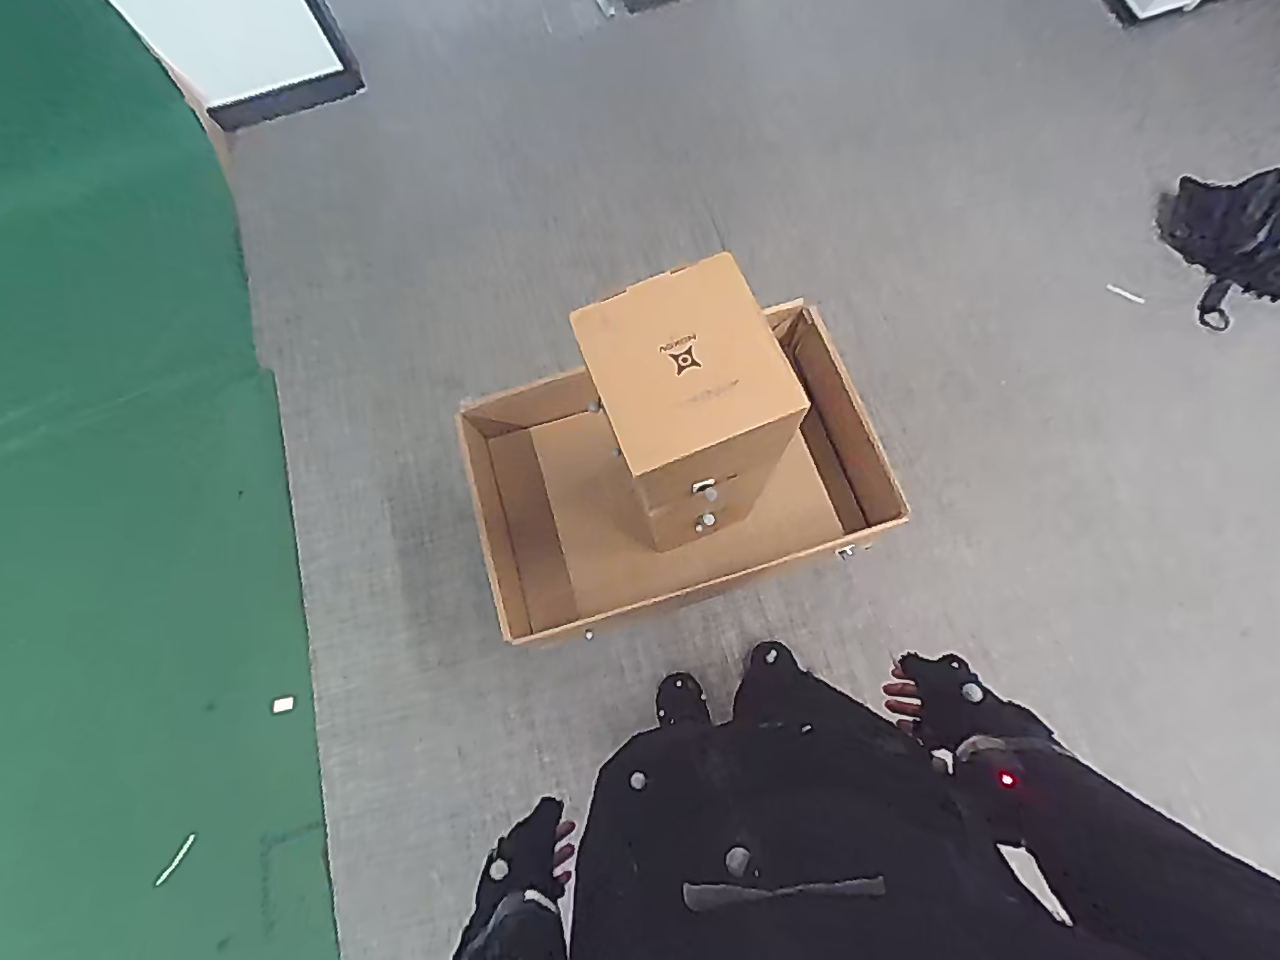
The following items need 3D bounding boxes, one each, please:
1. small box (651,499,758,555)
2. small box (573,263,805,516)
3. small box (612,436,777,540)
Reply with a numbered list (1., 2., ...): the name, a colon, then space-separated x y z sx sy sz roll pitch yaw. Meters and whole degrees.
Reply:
1. small box: 0.074 0.004 0.881 0.168 0.176 0.179 -23 72 0
2. small box: 0.046 -0.082 0.569 0.168 0.176 0.179 -23 74 -1
3. small box: 0.060 -0.037 0.723 0.168 0.176 0.179 -22 73 -2
